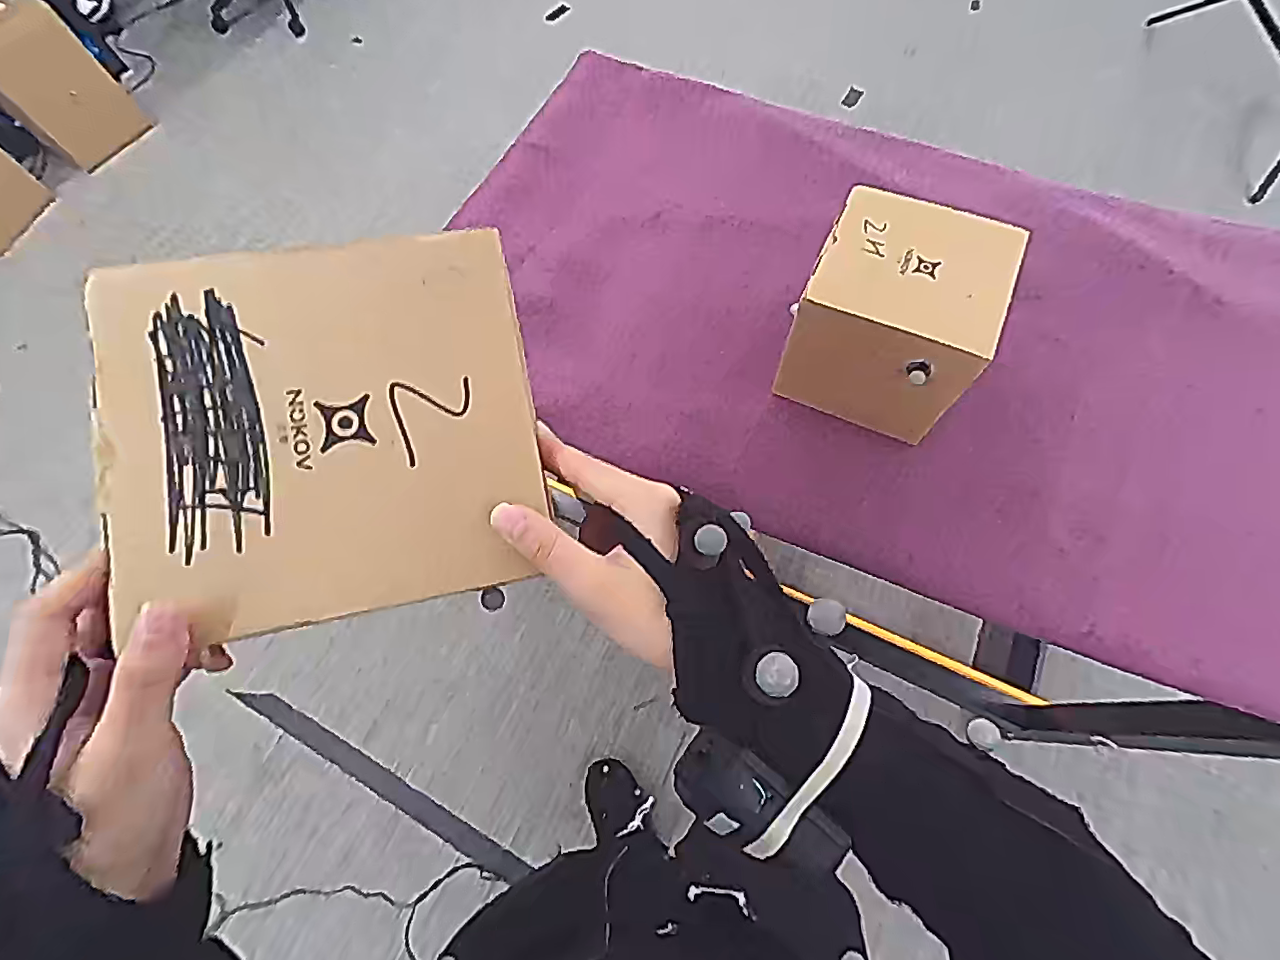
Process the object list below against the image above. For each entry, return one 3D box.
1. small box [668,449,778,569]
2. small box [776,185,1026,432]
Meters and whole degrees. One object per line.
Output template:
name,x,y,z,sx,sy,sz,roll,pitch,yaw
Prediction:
small box,0.176,0.070,1.169,0.168,0.176,0.179,29,72,14
small box,0.269,-0.176,0.592,0.179,0.176,0.168,23,69,13
